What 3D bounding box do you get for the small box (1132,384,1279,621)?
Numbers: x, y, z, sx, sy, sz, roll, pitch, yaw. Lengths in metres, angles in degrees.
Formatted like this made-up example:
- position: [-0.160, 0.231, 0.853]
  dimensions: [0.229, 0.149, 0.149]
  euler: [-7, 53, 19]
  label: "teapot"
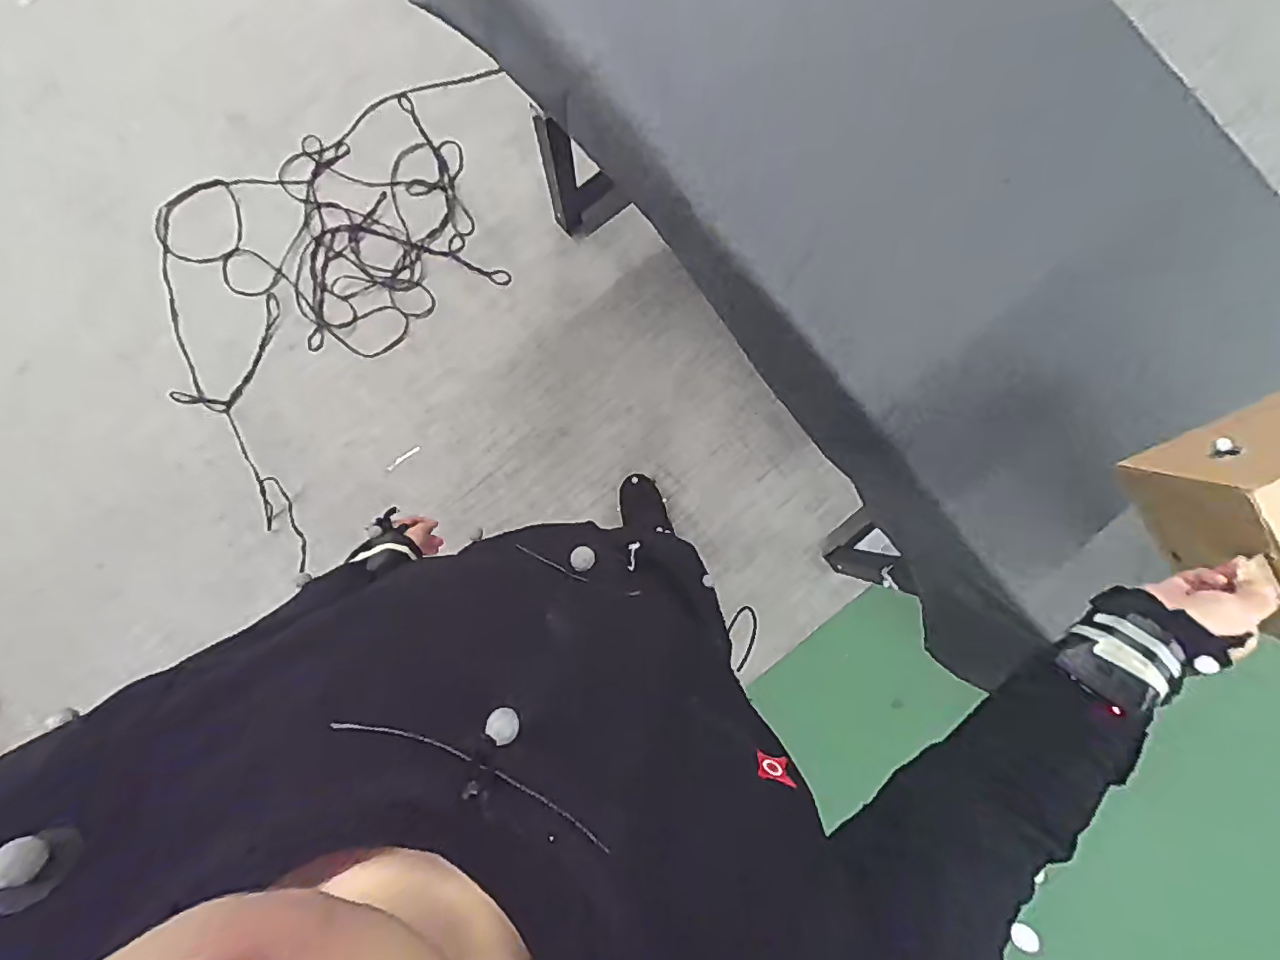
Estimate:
- position: [0.599, 0.020, 0.479]
  dimensions: [0.179, 0.176, 0.168]
  euler: [-30, 92, 14]
  label: "small box"
